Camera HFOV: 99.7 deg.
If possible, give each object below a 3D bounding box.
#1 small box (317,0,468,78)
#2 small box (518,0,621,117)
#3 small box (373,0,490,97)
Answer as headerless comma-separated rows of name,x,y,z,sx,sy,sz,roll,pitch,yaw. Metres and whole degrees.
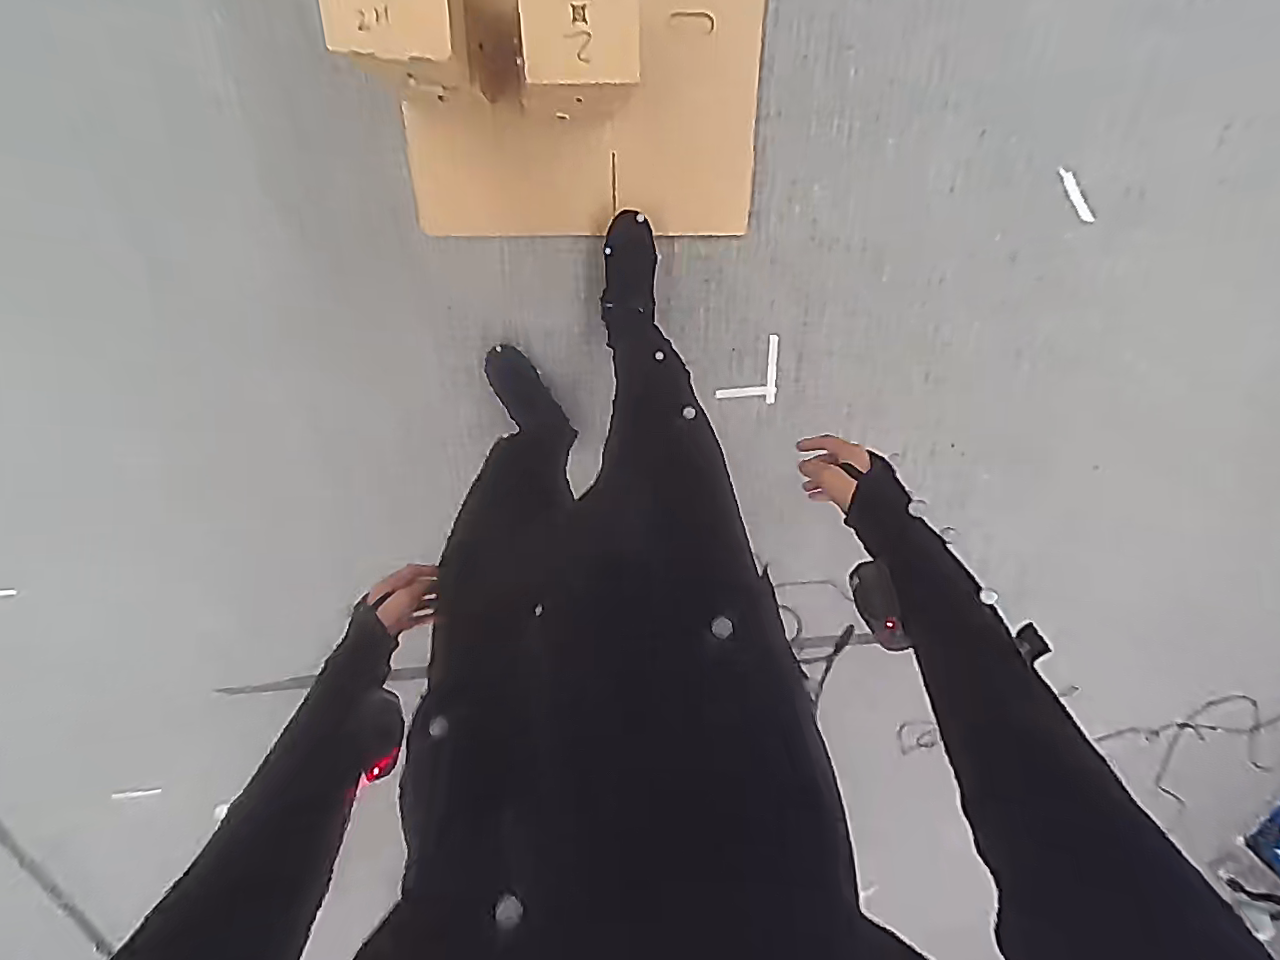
small box,-0.344,-0.699,0.762,0.168,0.176,0.179,0,117,-7
small box,-0.126,-0.760,0.947,0.168,0.176,0.179,0,116,-8
small box,-0.353,-0.766,0.913,0.168,0.176,0.179,-1,117,-7
